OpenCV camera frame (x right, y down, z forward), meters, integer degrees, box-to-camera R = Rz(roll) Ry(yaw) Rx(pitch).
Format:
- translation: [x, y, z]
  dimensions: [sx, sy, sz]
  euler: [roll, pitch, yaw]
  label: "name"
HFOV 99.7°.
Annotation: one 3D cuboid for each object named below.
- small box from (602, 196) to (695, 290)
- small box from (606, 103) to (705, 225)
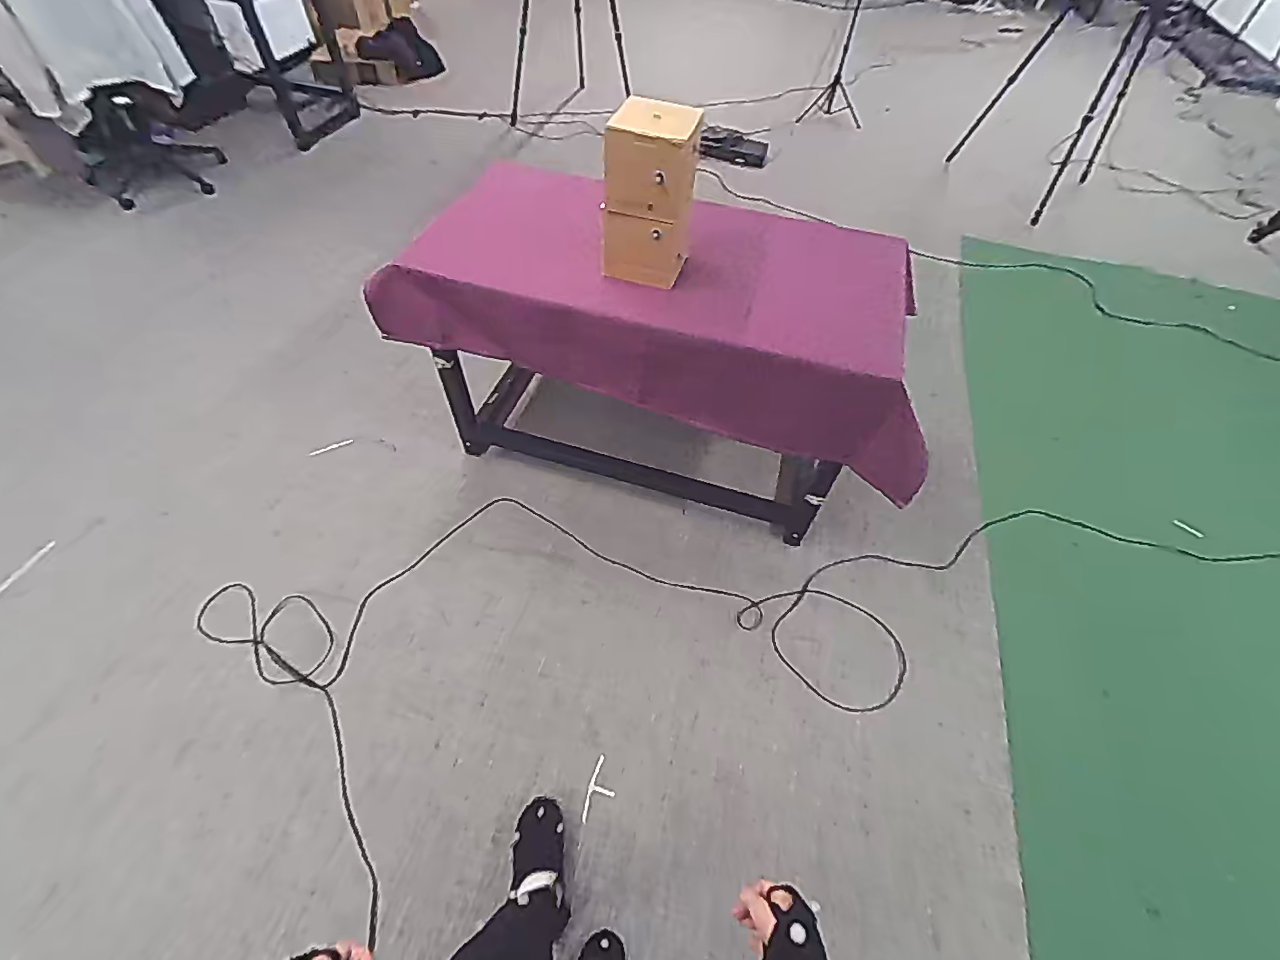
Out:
- translation: [0.018, -0.582, 1.297]
  dimensions: [0.179, 0.176, 0.168]
  euler: [17, 53, 8]
  label: "small box"
- translation: [0.032, -0.679, 1.166]
  dimensions: [0.168, 0.176, 0.179]
  euler: [16, 52, 7]
  label: "small box"
